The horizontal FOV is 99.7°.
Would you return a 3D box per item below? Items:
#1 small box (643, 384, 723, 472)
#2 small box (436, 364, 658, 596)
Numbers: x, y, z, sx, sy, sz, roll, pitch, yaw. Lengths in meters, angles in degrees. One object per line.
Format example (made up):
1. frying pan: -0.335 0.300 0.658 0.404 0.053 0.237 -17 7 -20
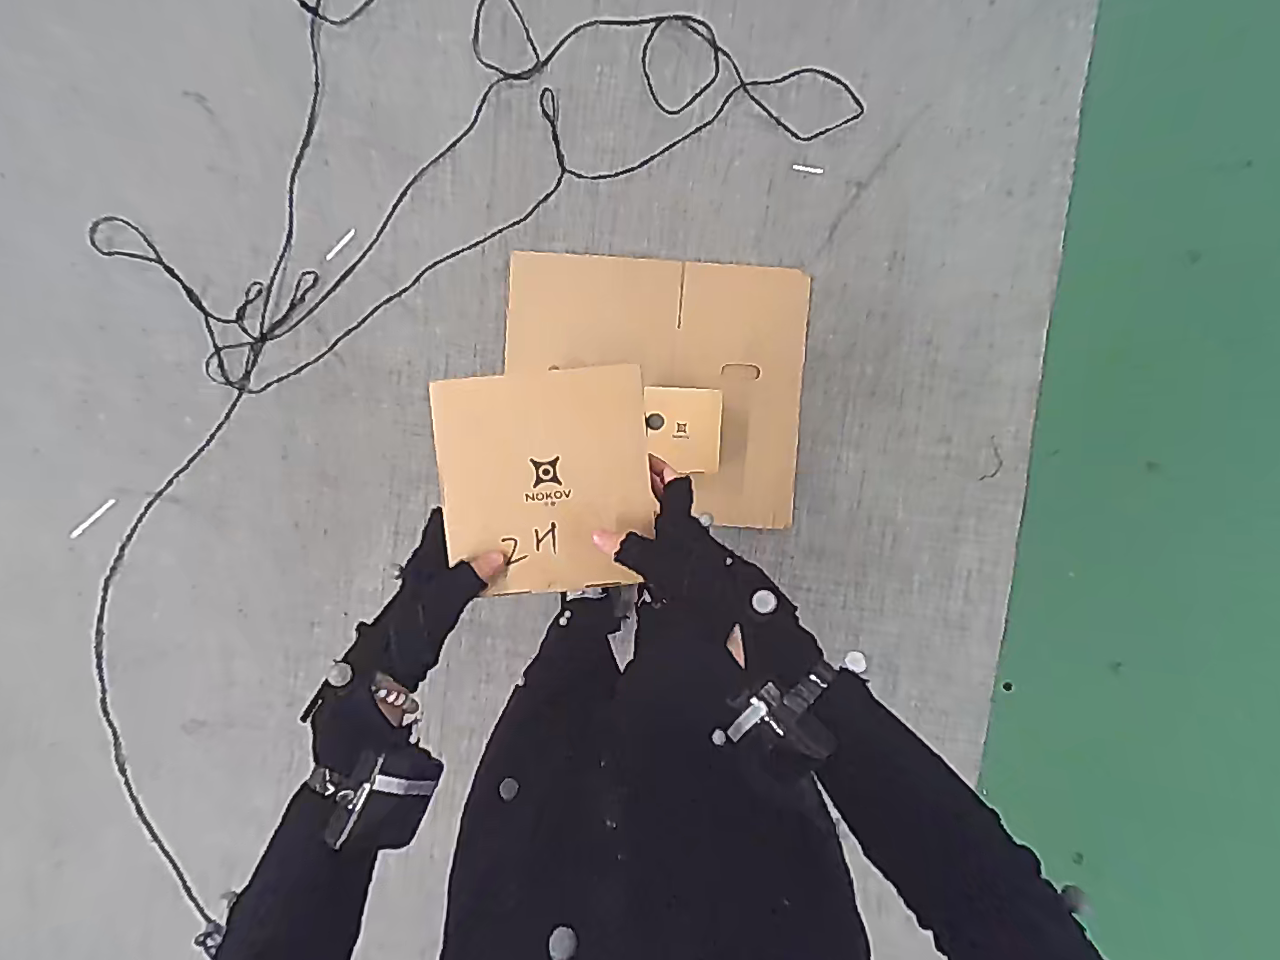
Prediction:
1. small box: 0.083 -0.112 1.190 0.168 0.176 0.179 2 95 -1
2. small box: -0.076 -0.003 0.511 0.168 0.176 0.179 -6 94 -1
